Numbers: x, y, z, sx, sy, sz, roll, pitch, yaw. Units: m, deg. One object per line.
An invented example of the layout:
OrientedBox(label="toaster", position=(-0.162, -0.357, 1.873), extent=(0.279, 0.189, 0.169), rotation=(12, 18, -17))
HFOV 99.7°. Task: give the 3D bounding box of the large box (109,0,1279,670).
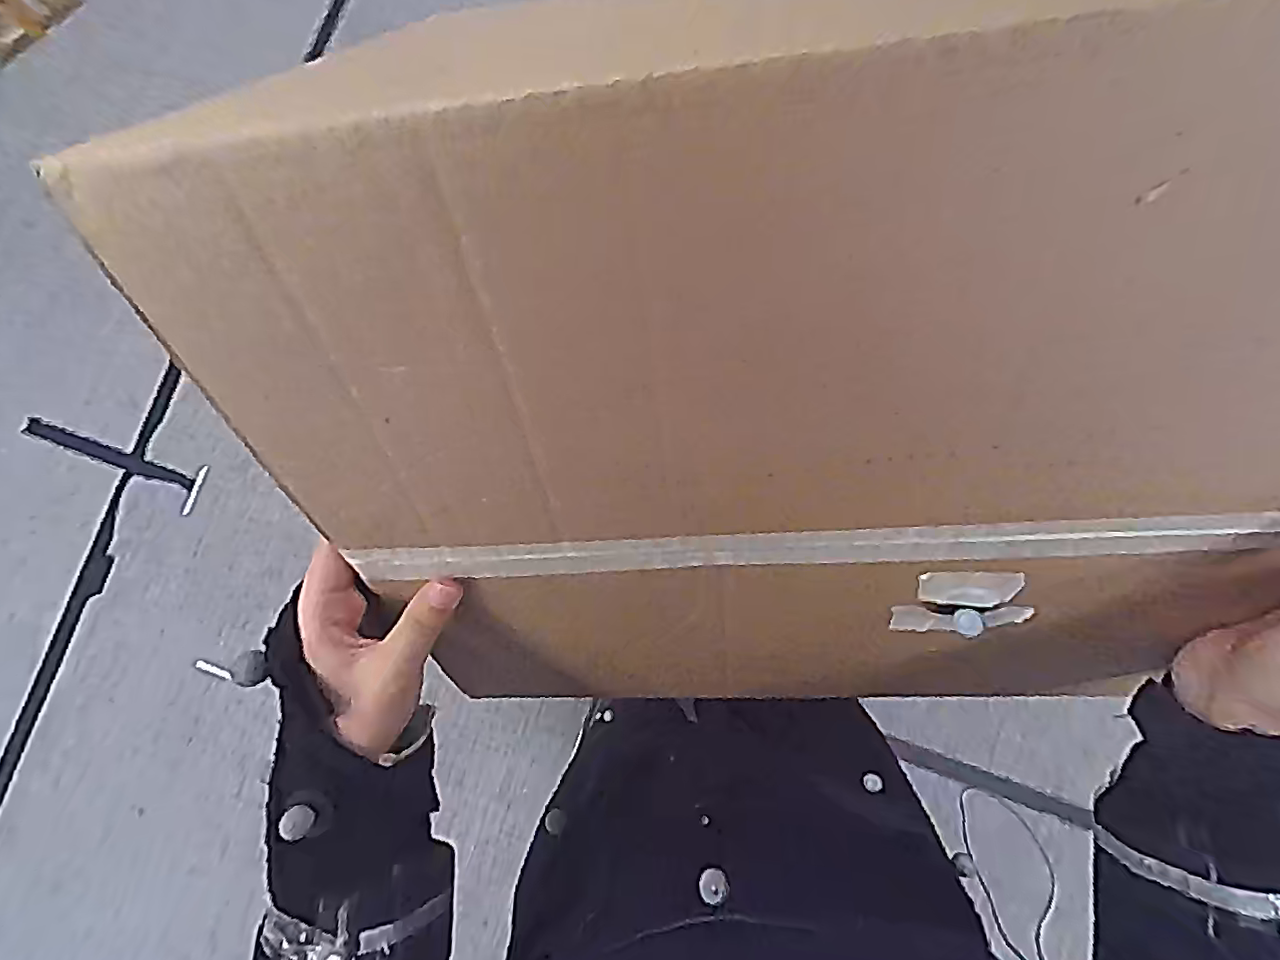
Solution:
OrientedBox(label="large box", position=(0.088, -0.106, 0.314), extent=(0.408, 0.320, 0.320), rotation=(-3, 45, 7))
